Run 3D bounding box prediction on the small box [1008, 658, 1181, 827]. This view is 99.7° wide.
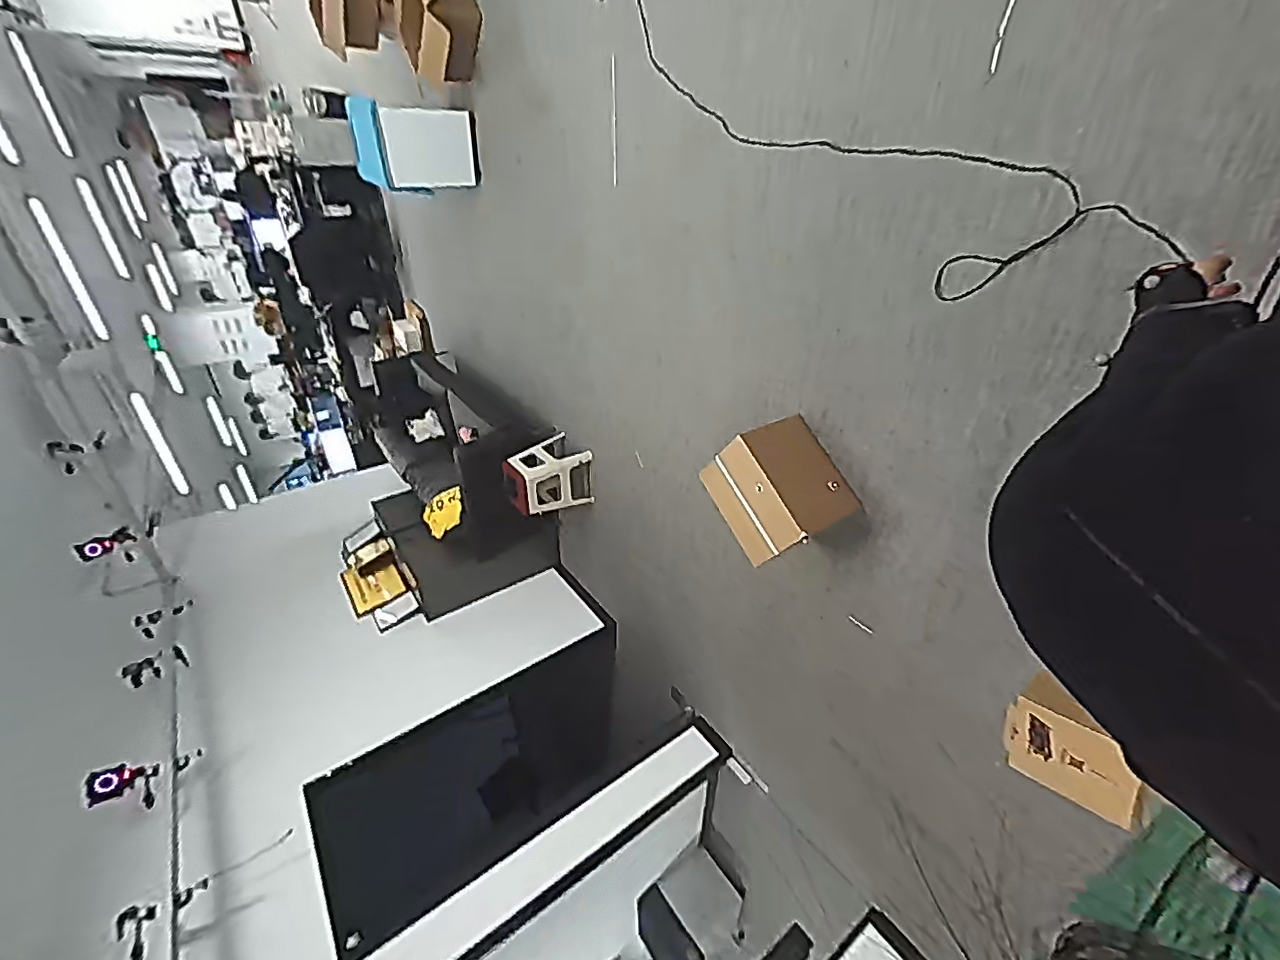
[{"bbox_3d":[0.782,0.437,0.938,0.179,0.176,0.168,20,124,52],"label":"small box"}]
